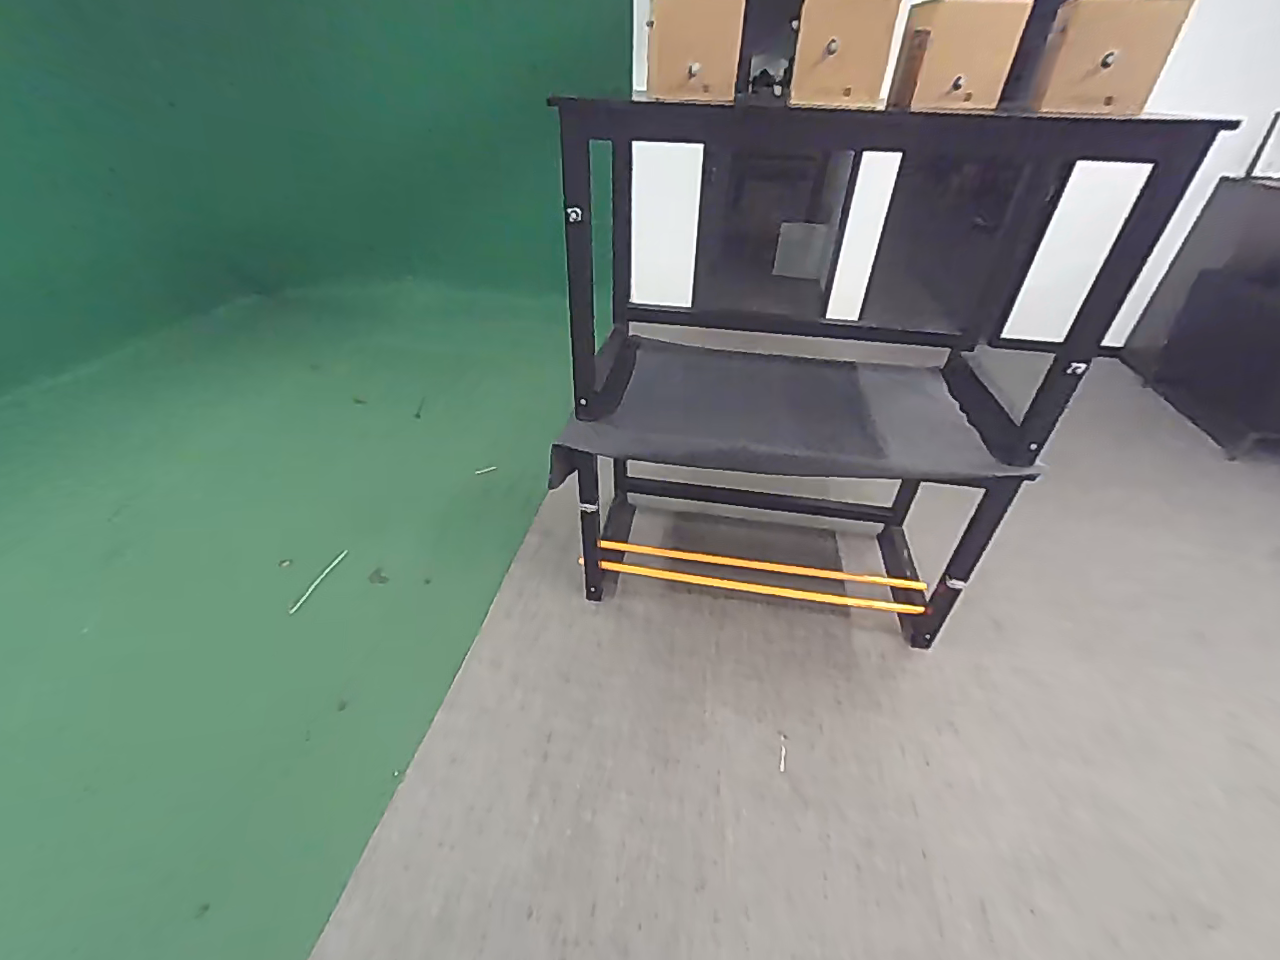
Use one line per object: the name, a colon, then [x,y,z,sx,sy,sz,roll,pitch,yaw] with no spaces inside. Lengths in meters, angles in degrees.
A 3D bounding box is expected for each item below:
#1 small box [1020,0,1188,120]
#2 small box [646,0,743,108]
small box: [0.855,-0.785,1.020,0.168,0.176,0.179,14,39,15]
small box: [0.103,-0.886,1.126,0.168,0.176,0.179,-2,38,-6]
